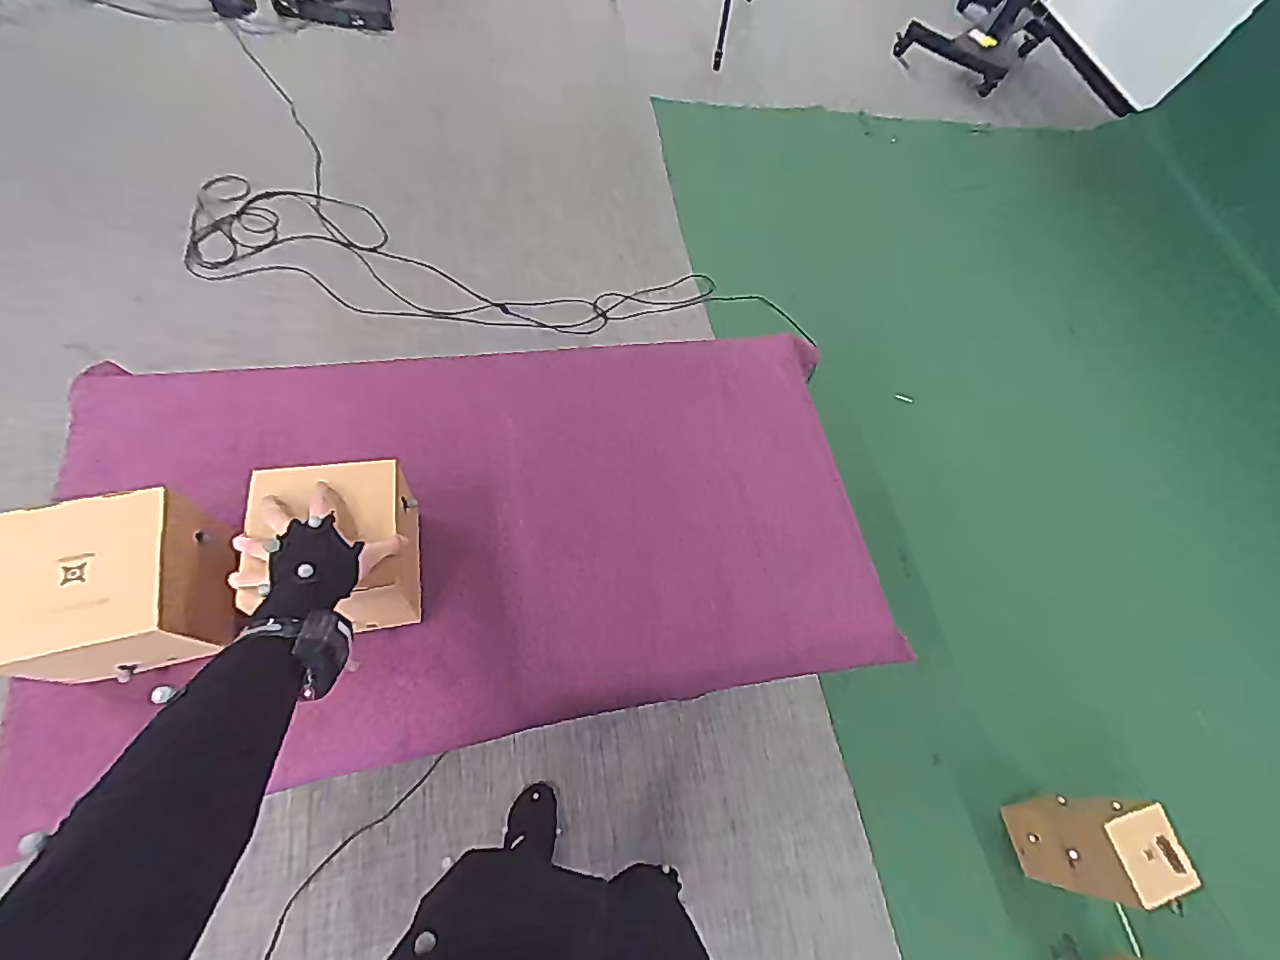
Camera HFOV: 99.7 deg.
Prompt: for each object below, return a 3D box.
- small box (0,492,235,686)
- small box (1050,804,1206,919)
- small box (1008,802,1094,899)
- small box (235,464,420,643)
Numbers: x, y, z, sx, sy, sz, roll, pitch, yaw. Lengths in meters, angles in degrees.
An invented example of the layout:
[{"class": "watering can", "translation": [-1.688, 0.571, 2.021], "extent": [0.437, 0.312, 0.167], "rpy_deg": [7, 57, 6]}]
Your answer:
[{"class": "small box", "translation": [-0.629, 0.137, 0.660], "extent": [0.168, 0.176, 0.179], "rpy_deg": [-11, 68, -15]}, {"class": "small box", "translation": [1.125, 0.876, 1.261], "extent": [0.179, 0.176, 0.168], "rpy_deg": [-9, 66, -13]}, {"class": "small box", "translation": [1.106, 0.954, 1.406], "extent": [0.179, 0.176, 0.168], "rpy_deg": [-5, 65, -13]}, {"class": "small box", "translation": [-0.393, 0.099, 0.714], "extent": [0.168, 0.176, 0.179], "rpy_deg": [-6, 63, -14]}]
